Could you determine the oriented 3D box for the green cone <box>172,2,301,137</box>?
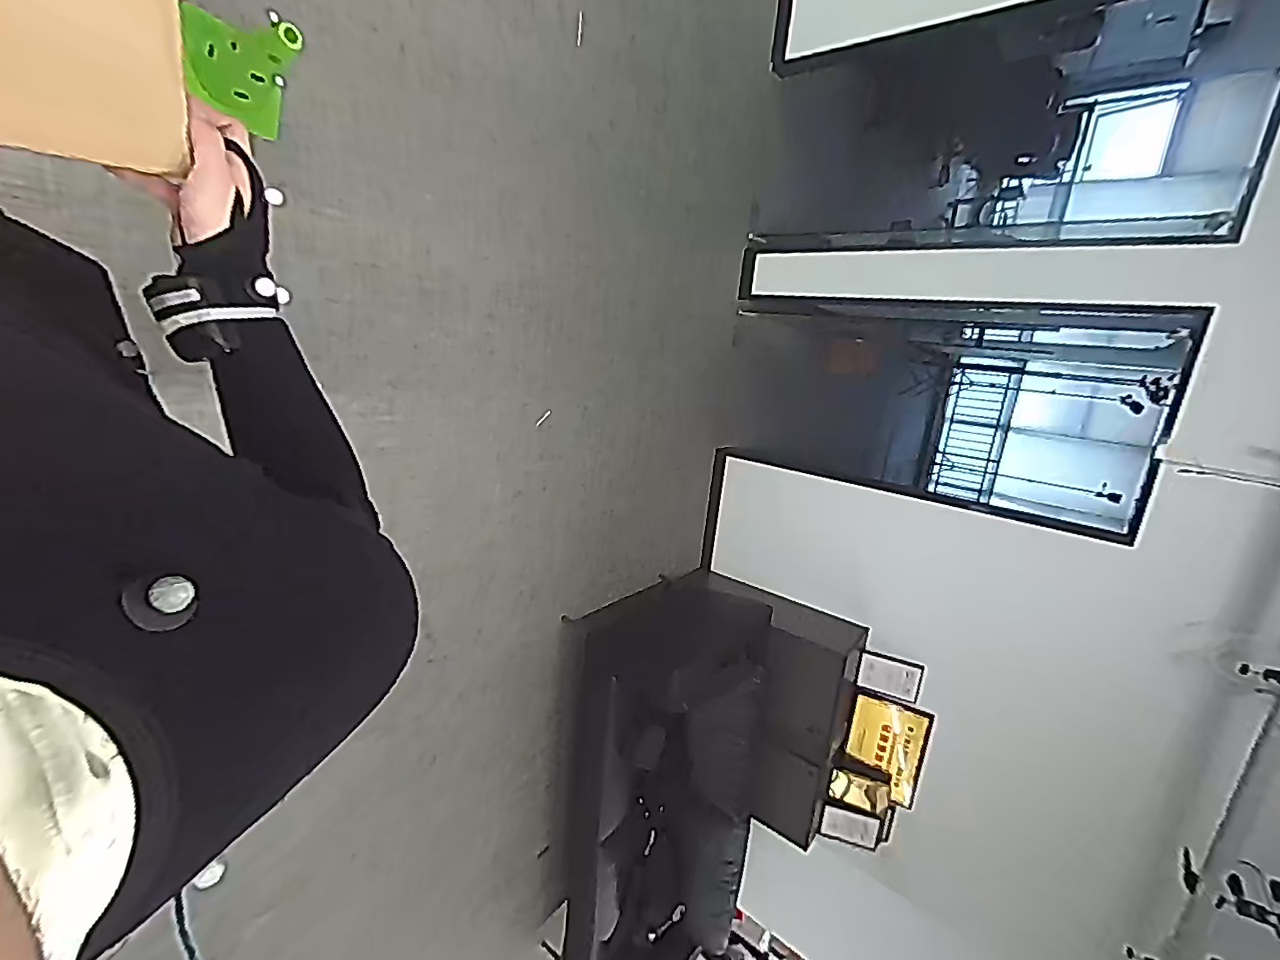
[{"bbox_3d":[-0.804,-0.890,1.131,0.200,0.368,0.202,-2,103,-54],"label":"green cone"}]
